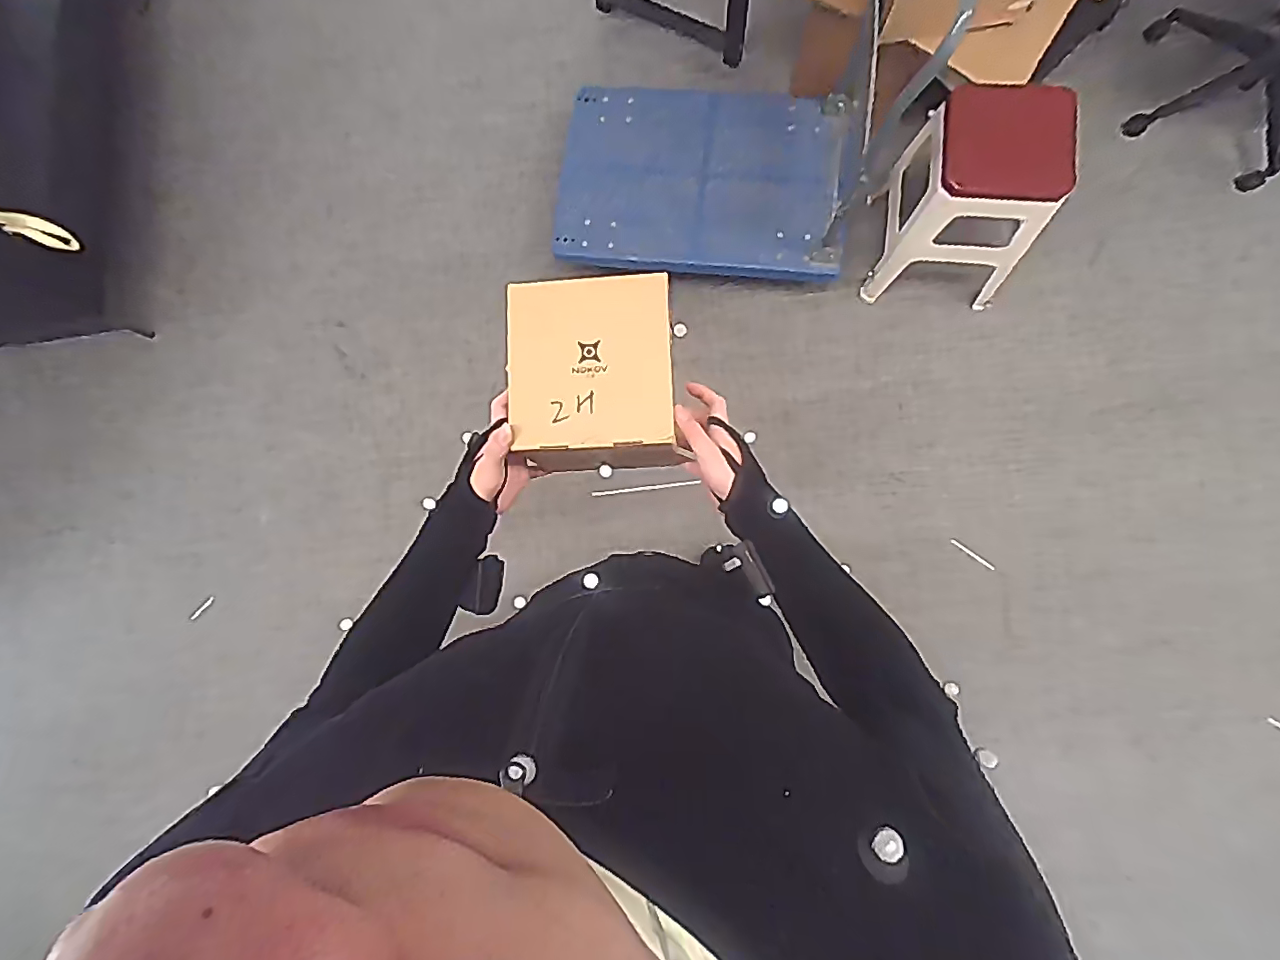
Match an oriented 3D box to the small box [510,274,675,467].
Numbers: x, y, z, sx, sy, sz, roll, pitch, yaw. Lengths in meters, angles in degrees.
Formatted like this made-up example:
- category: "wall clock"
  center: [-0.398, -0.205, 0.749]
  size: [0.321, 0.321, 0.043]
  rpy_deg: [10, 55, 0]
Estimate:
- category: "small box"
  center: [-0.045, -0.115, 0.627]
  size: [0.168, 0.176, 0.179]
  rpy_deg: [-2, 84, 4]
